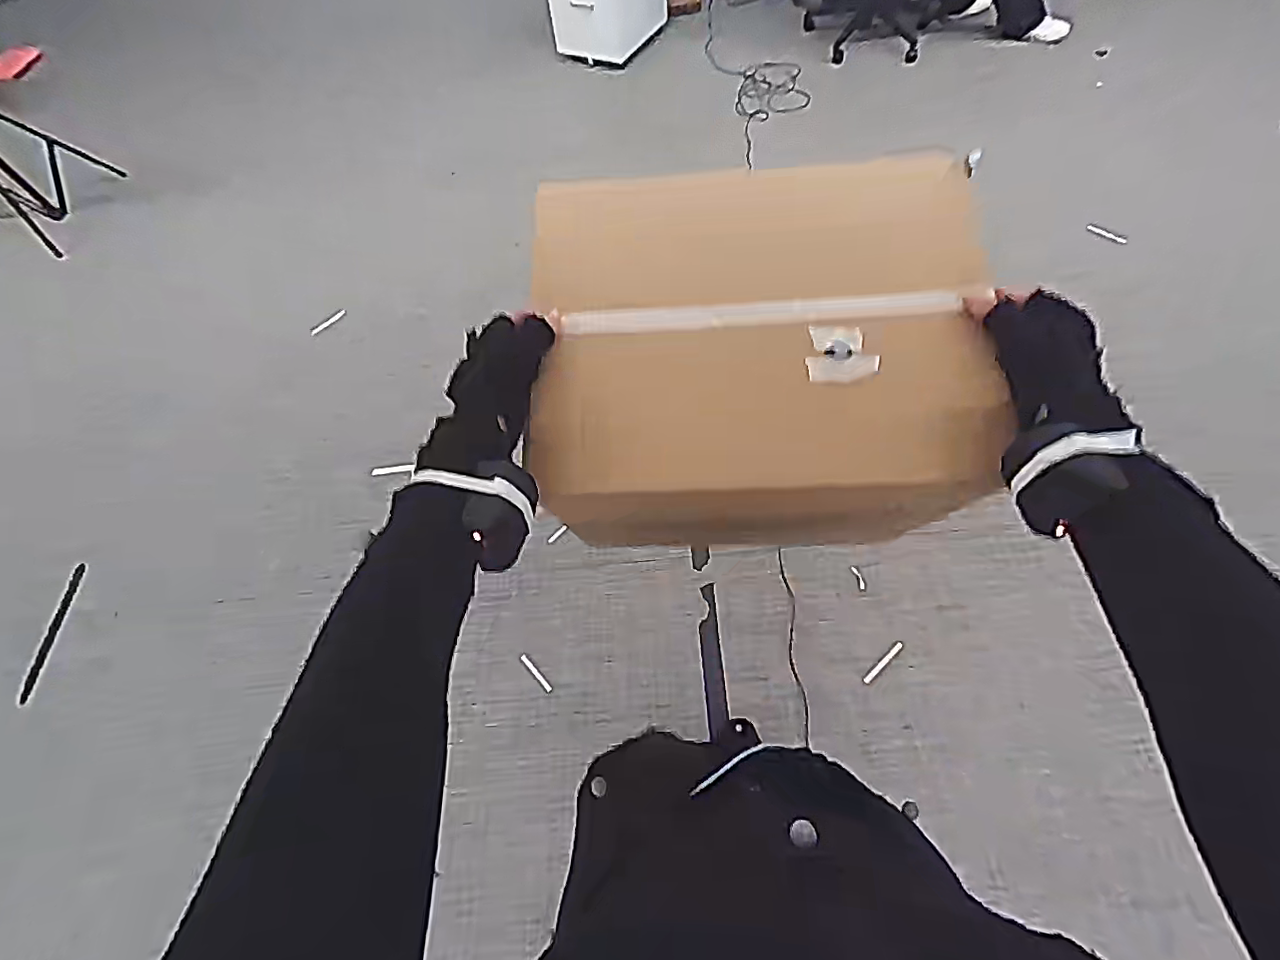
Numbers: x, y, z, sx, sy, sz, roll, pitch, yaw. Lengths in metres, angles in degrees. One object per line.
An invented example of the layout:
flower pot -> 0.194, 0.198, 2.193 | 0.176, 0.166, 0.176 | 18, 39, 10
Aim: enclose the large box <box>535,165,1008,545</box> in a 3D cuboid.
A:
large box -> 0.110, -0.107, 0.636 | 0.408, 0.320, 0.320 | -3, 75, 4
